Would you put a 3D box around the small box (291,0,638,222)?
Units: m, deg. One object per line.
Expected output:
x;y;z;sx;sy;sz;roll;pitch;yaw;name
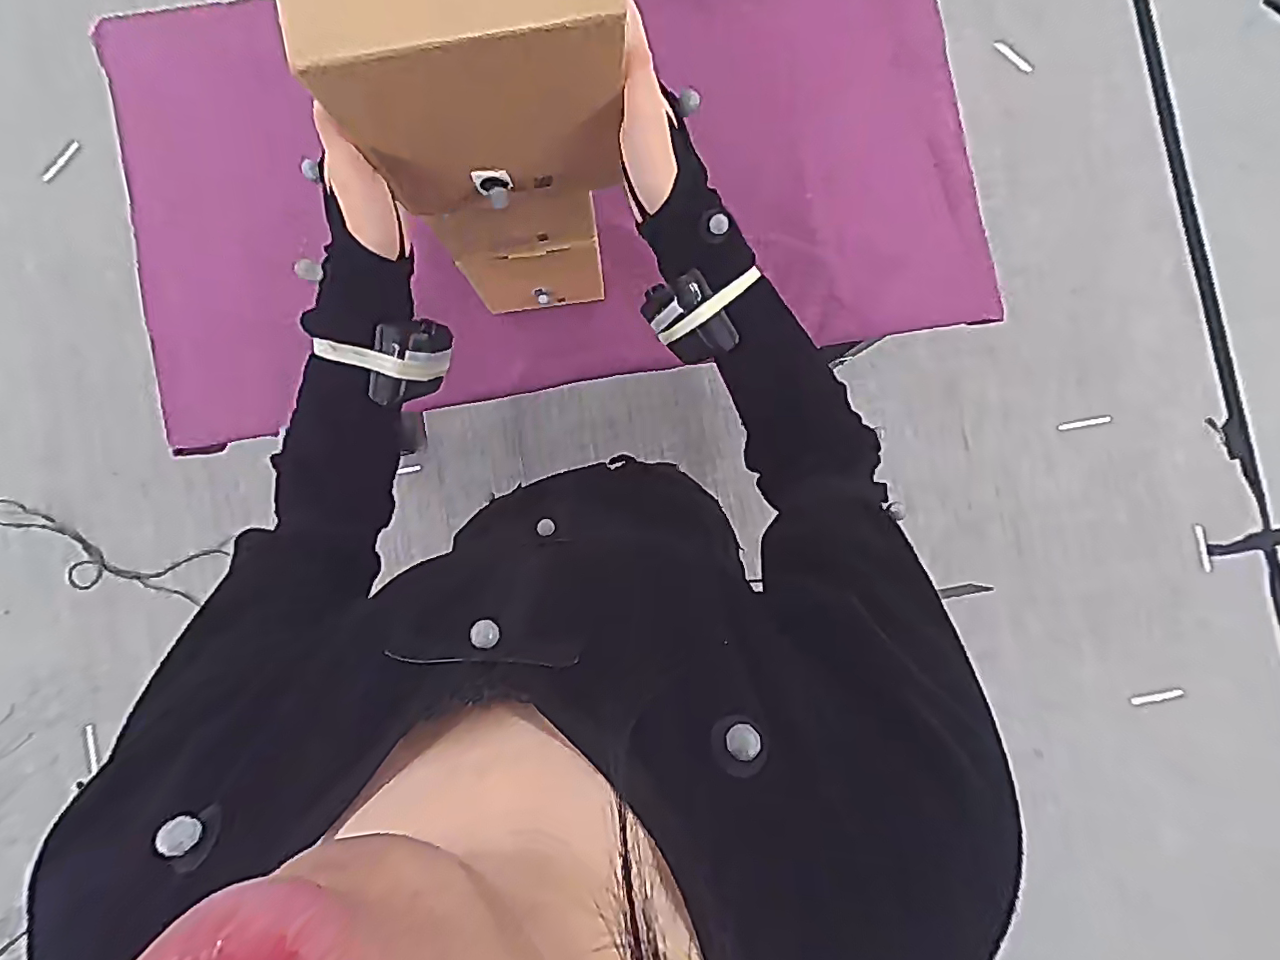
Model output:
-0.100;-0.296;0.340;0.168;0.176;0.179;-12;93;-2;small box

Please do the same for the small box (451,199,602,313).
-0.144;-0.340;0.706;0.168;0.176;0.179;-8;88;-1;small box
